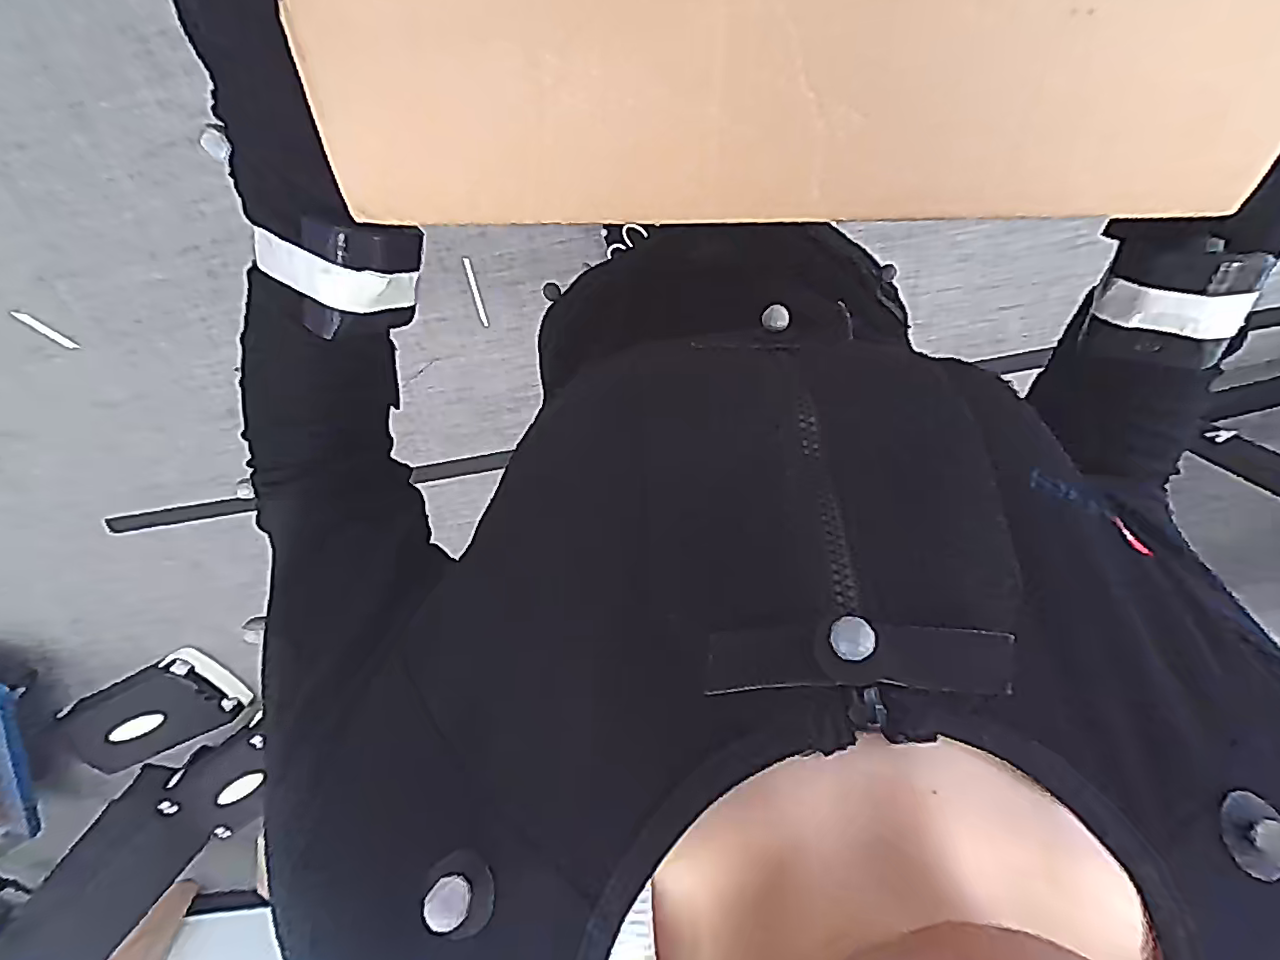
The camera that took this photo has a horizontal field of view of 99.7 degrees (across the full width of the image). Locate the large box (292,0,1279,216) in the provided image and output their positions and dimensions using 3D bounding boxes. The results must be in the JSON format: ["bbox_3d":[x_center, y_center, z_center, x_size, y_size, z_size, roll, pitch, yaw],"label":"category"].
[{"bbox_3d":[0.064,-0.345,0.260,0.408,0.320,0.320,-1,133,0],"label":"large box"}]
